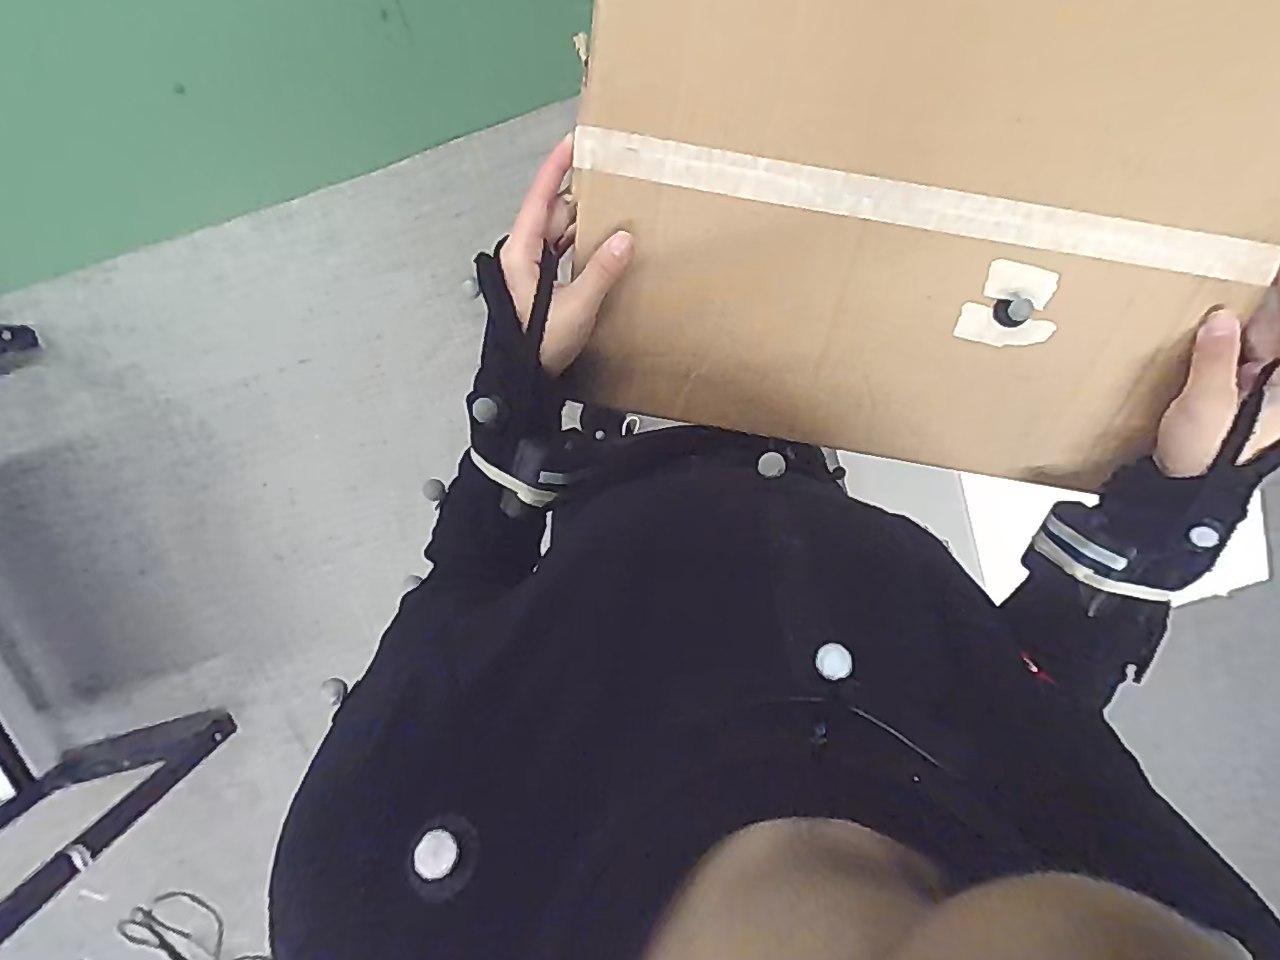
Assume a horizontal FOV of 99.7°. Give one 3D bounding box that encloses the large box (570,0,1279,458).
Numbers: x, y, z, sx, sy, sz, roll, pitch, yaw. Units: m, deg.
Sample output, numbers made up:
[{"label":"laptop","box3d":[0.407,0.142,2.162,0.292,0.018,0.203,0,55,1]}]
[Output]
[{"label":"large box","box3d":[0.169,-0.243,0.448,0.408,0.320,0.320,8,119,-1]}]
